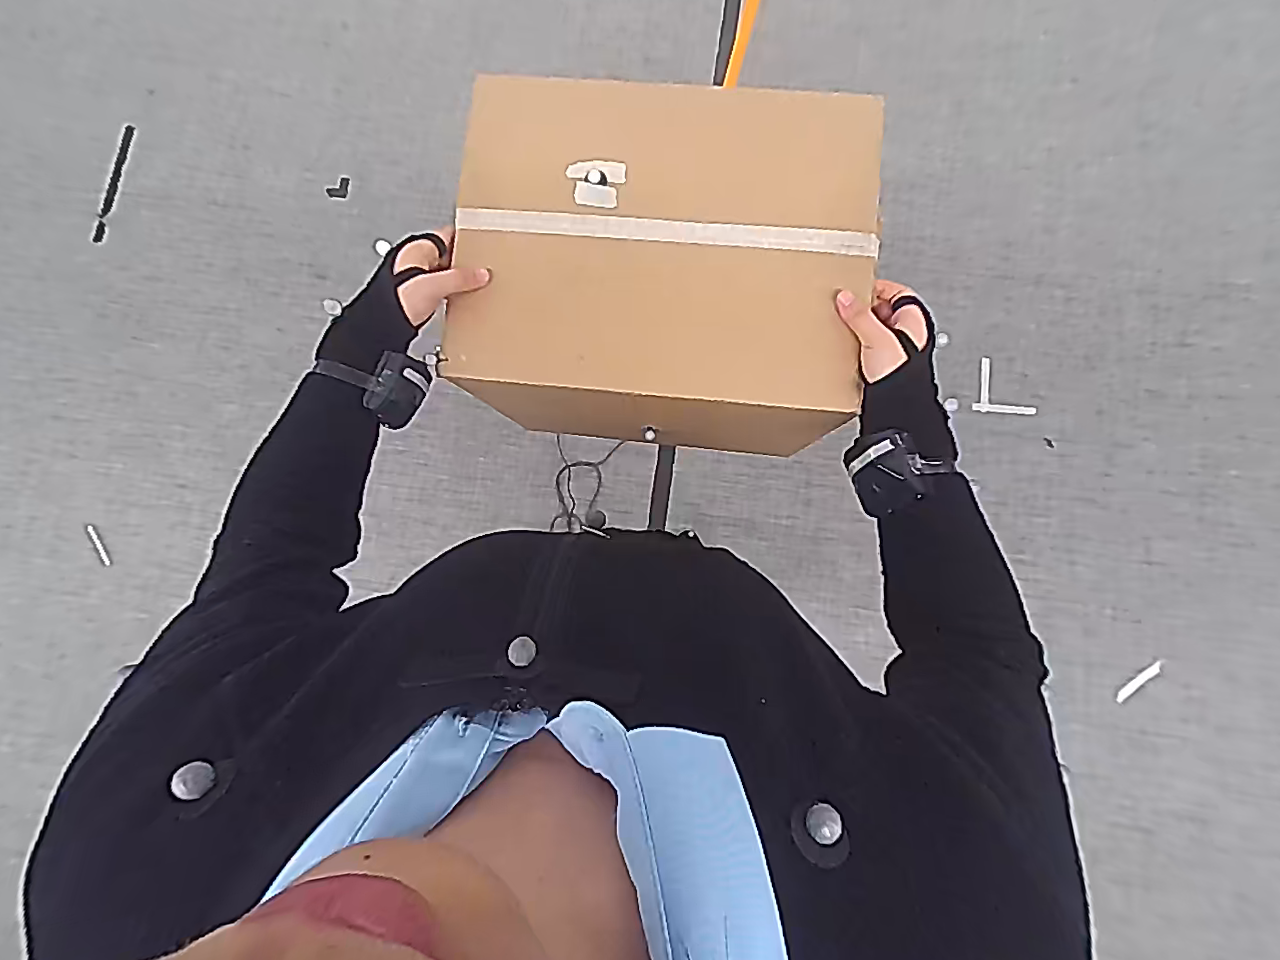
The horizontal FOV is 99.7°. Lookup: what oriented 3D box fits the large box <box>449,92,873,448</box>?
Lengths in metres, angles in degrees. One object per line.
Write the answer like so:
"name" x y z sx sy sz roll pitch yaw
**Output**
"large box" 0.032 -0.223 0.679 0.408 0.320 0.320 6 84 5
